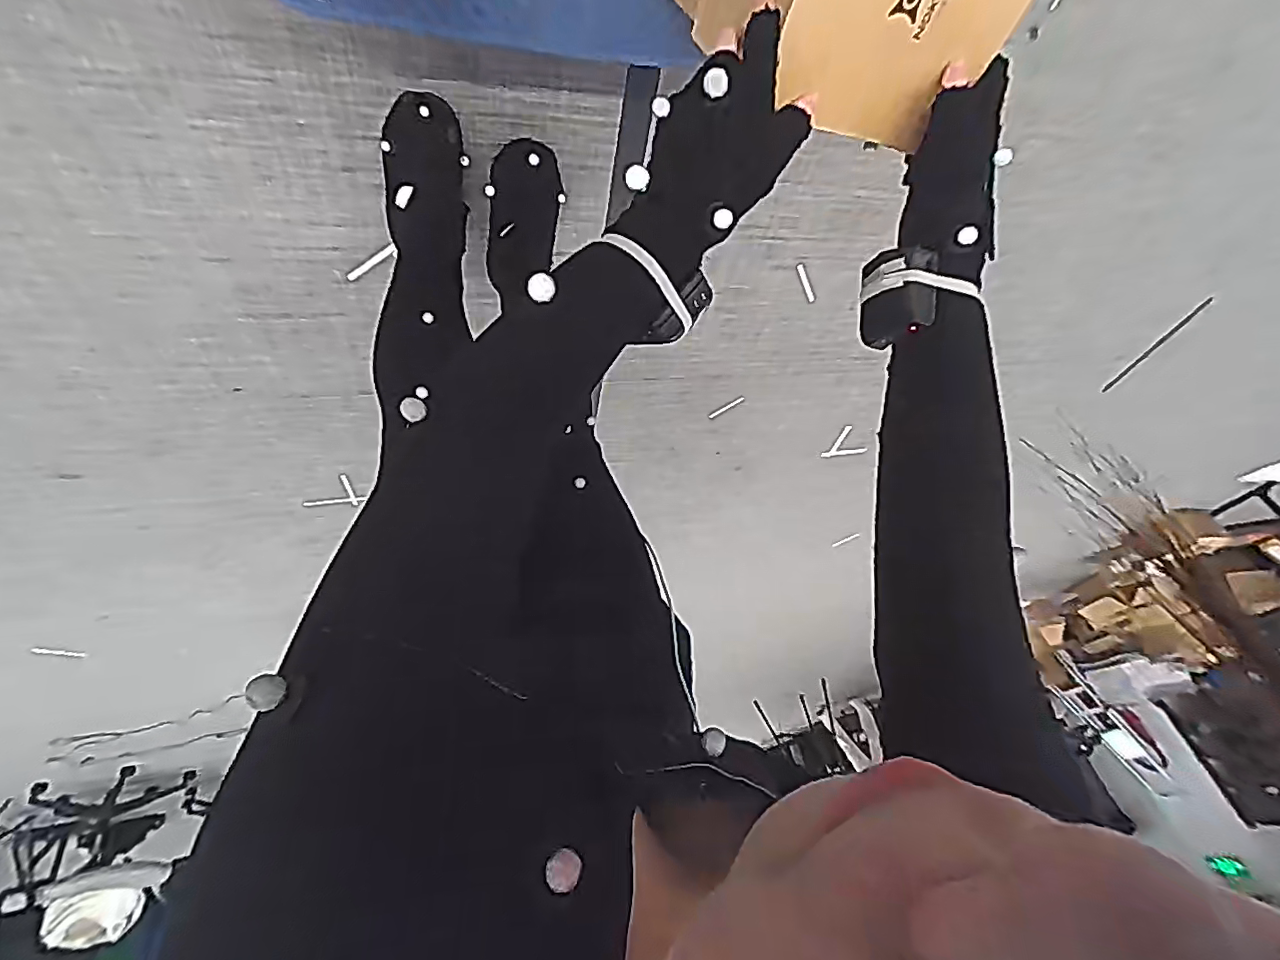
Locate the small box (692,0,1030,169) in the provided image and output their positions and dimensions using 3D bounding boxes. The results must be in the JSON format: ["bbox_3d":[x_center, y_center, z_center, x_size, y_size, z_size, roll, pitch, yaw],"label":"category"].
[{"bbox_3d":[0.158,-0.370,0.405,0.179,0.176,0.168,-2,144,-21],"label":"small box"}]
